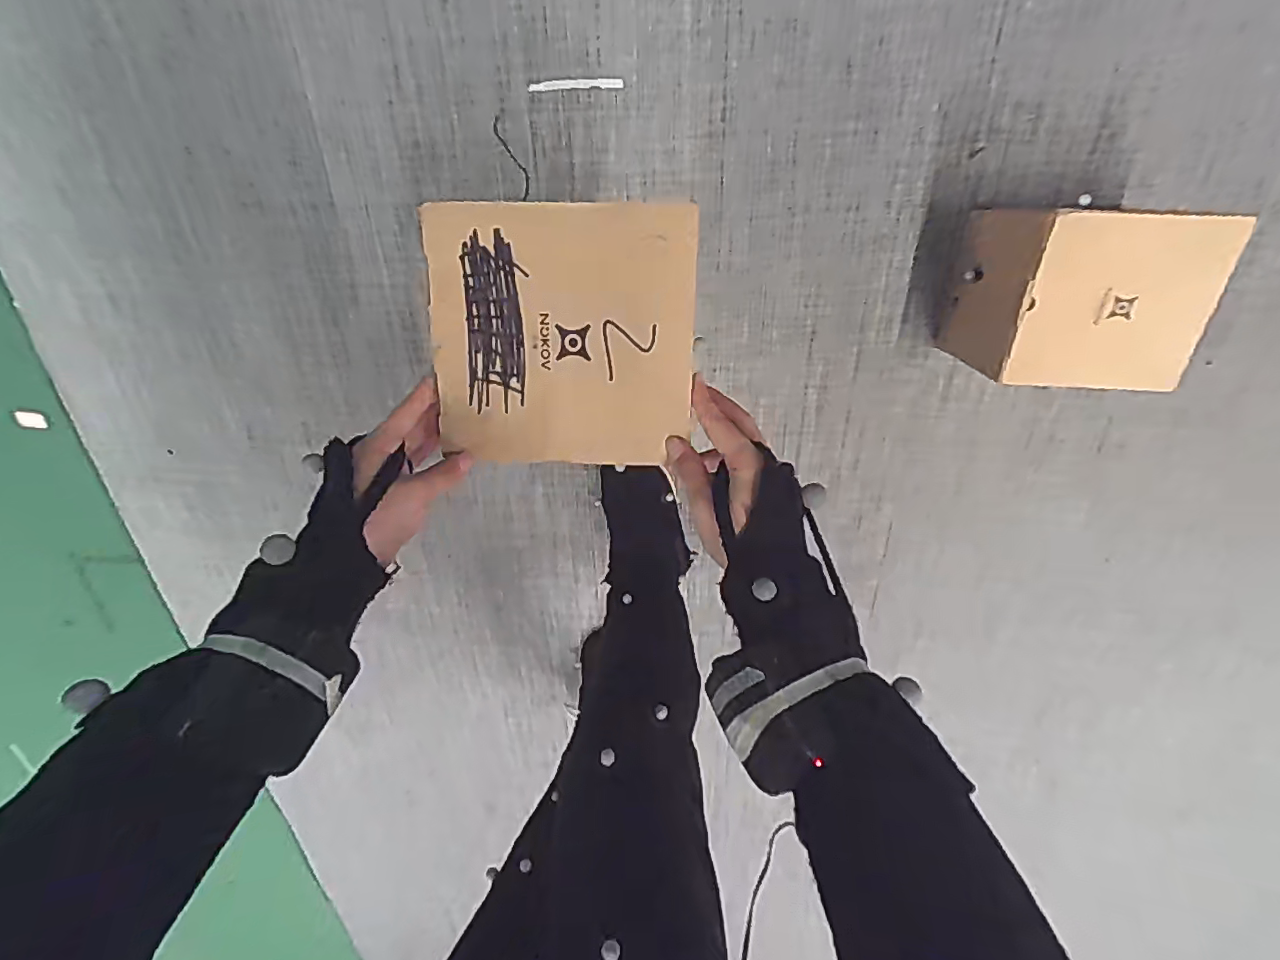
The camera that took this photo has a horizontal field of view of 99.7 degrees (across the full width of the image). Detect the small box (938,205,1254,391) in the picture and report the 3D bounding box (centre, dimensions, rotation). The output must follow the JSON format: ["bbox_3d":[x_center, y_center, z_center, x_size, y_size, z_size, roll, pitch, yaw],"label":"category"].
[{"bbox_3d":[0.466,-0.205,0.592,0.179,0.176,0.168,4,118,5],"label":"small box"}]
